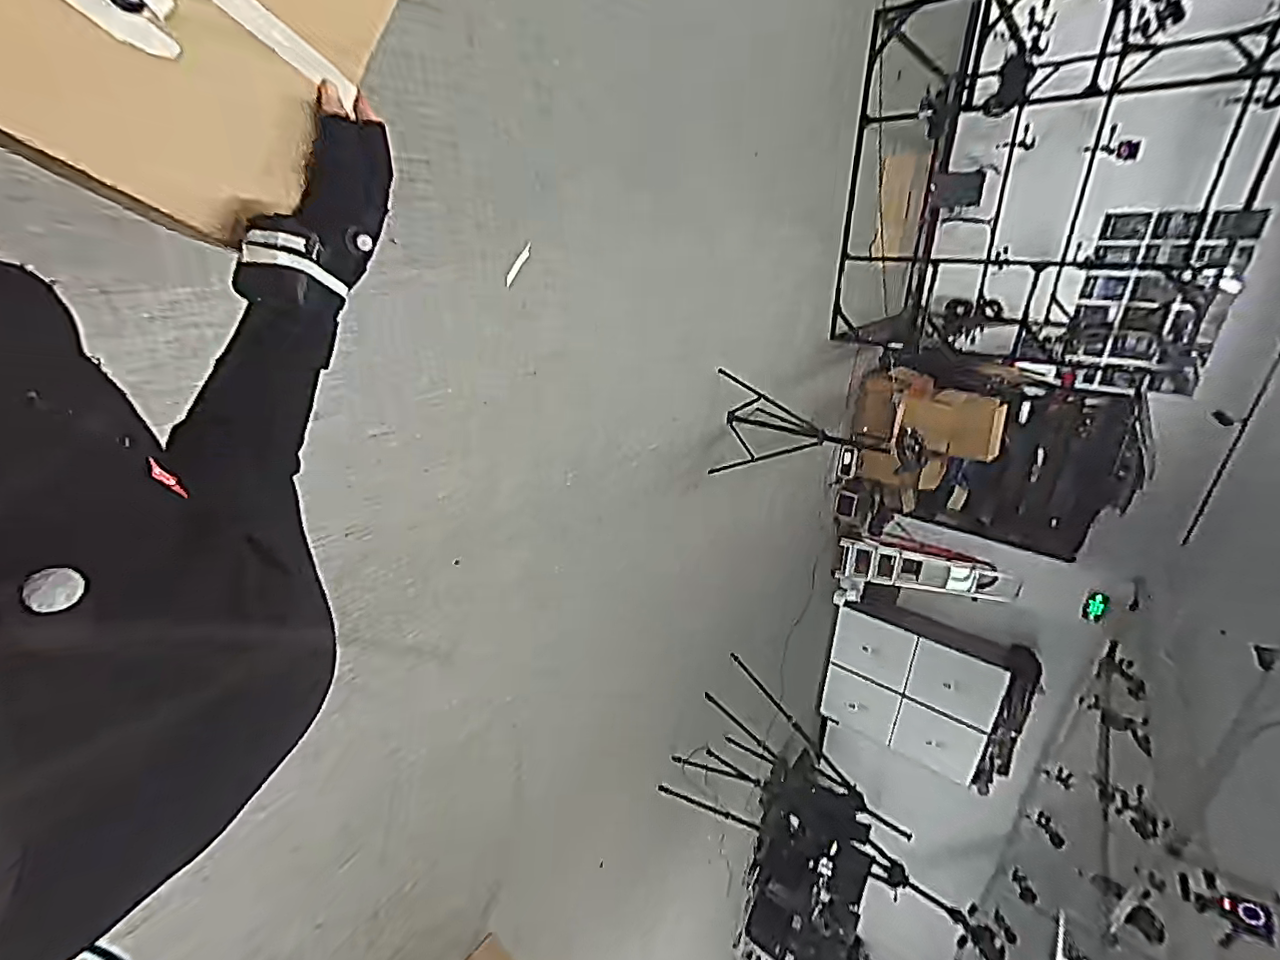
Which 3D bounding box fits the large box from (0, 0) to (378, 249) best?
[{"bbox_3d":[-0.471,-0.424,0.379,0.408,0.320,0.320,22,93,-56],"label":"large box"}]
